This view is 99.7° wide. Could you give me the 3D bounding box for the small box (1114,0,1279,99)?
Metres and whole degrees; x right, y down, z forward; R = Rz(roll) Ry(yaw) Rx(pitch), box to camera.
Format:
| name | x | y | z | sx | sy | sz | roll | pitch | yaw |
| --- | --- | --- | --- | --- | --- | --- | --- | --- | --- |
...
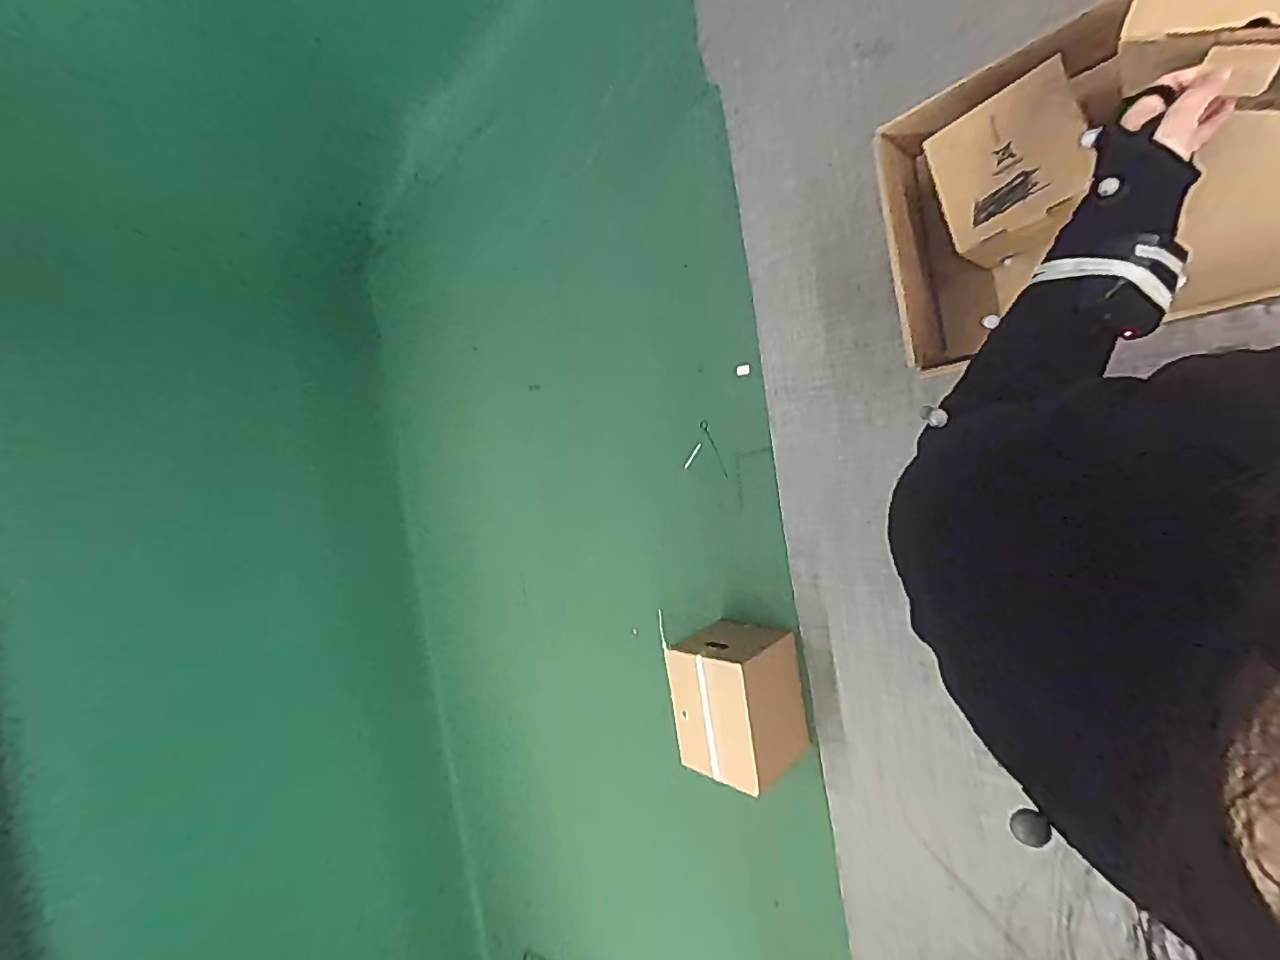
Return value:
| name | x | y | z | sx | sy | sz | roll | pitch | yaw |
| --- | --- | --- | --- | --- | --- | --- | --- | --- | --- |
| small box | 0.513 | -0.413 | 0.412 | 0.168 | 0.176 | 0.179 | 30 | 120 | 37 |
